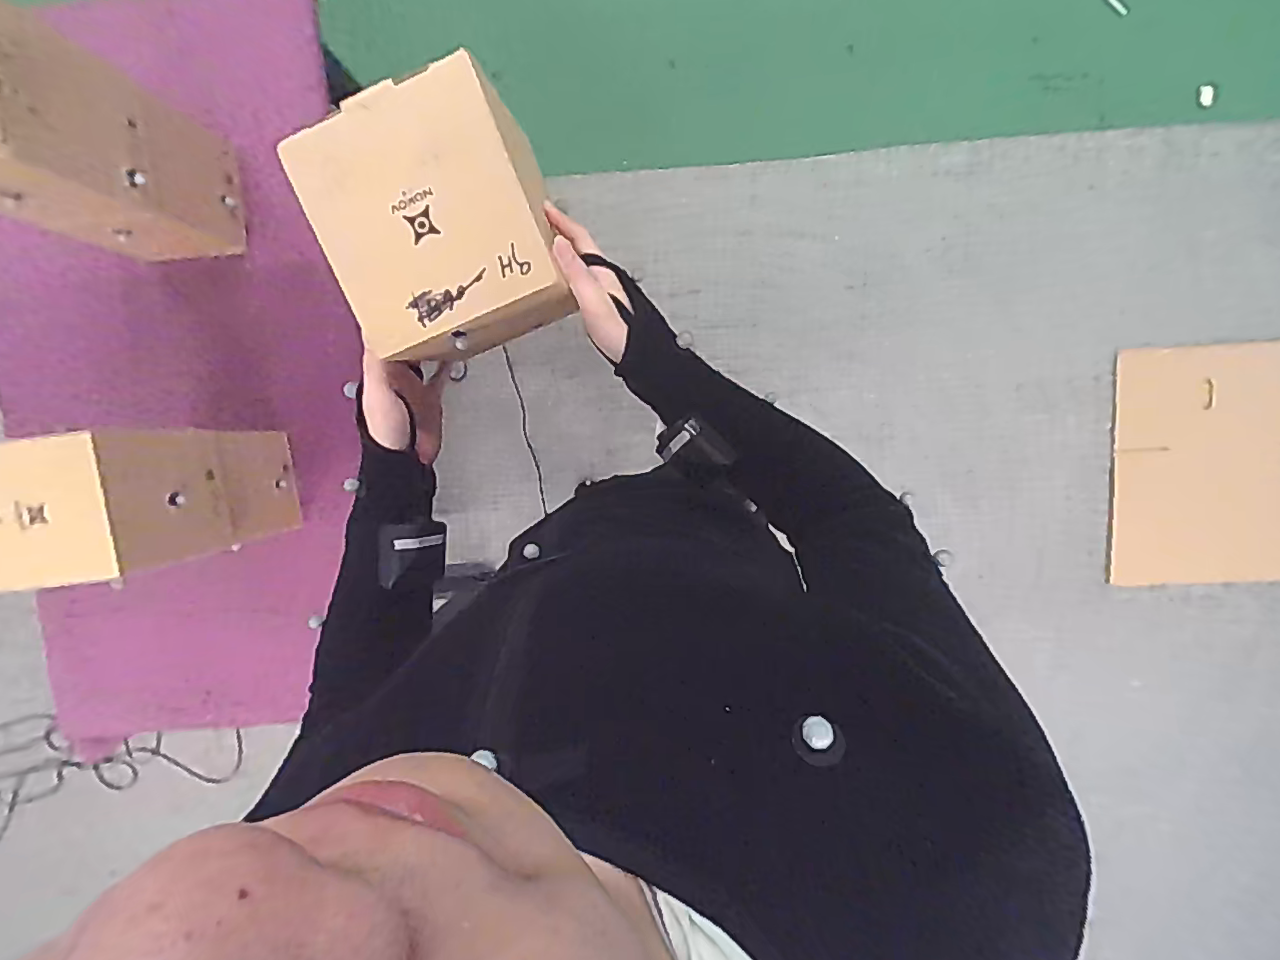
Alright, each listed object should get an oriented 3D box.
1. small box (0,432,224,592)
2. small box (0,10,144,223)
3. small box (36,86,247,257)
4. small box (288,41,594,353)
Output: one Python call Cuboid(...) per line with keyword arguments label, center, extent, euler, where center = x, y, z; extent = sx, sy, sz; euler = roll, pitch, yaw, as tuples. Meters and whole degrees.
Cuboid(label="small box", center=(-0.665, 0.030, 0.675), extent=(0.179, 0.176, 0.168), euler=(-7, 95, 3))
Cuboid(label="small box", center=(-0.735, -0.418, 0.633), extent=(0.179, 0.176, 0.168), euler=(-3, 97, 5))
Cuboid(label="small box", center=(-0.730, -0.437, 0.796), extent=(0.179, 0.176, 0.168), euler=(-2, 97, 3))
Cuboid(label="small box", center=(-0.155, -0.225, 0.487), extent=(0.168, 0.176, 0.179), euler=(-20, 100, 9))
